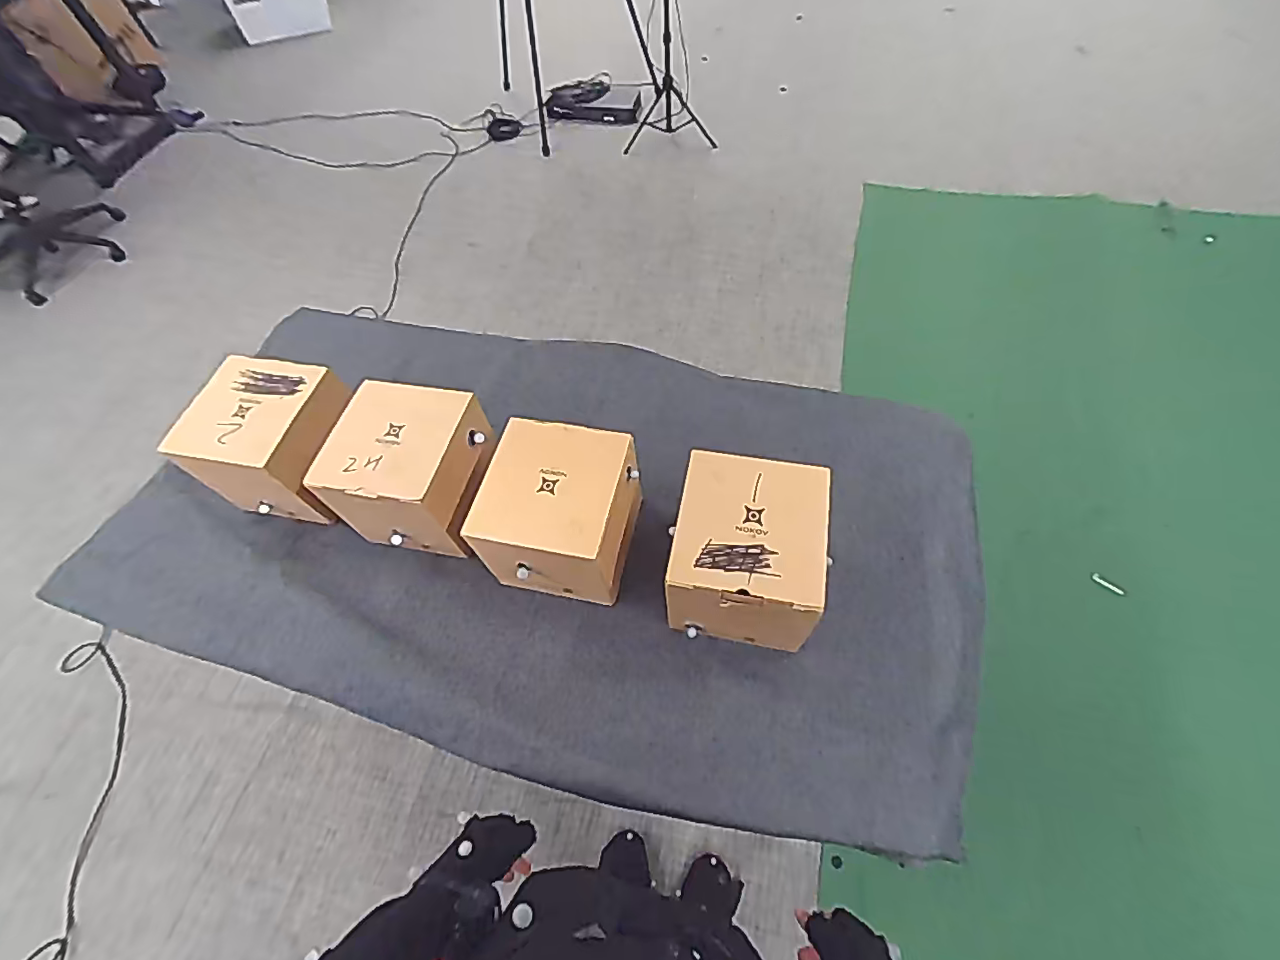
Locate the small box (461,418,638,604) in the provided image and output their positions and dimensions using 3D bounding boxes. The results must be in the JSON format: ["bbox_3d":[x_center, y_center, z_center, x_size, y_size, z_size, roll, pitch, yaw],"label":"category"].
[{"bbox_3d":[-0.101,0.045,0.709,0.168,0.176,0.179,9,59,10],"label":"small box"}]

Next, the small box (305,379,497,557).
[{"bbox_3d":[-0.312,-0.014,0.760,0.168,0.176,0.179,8,60,10],"label":"small box"}]
